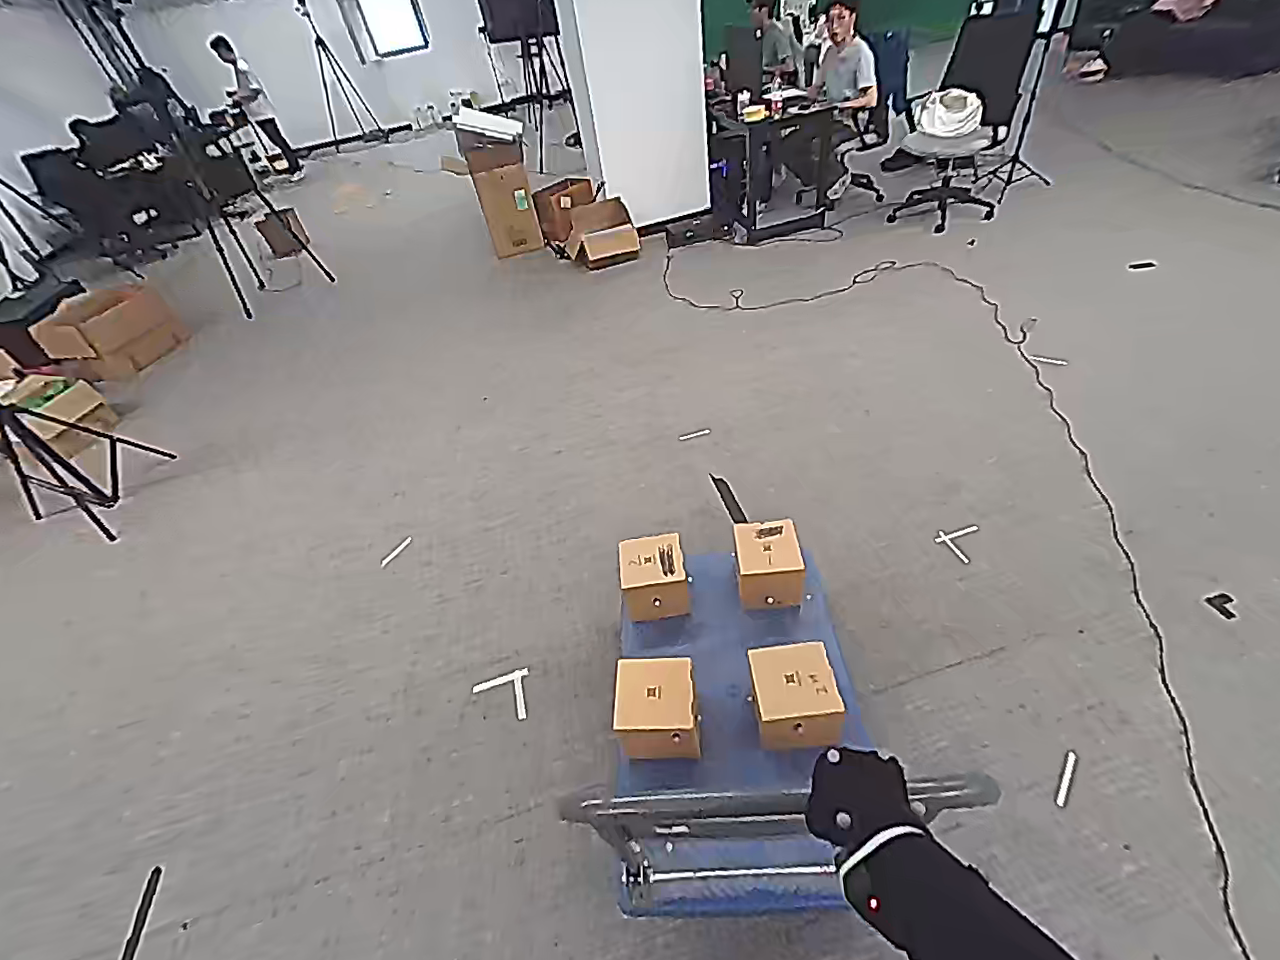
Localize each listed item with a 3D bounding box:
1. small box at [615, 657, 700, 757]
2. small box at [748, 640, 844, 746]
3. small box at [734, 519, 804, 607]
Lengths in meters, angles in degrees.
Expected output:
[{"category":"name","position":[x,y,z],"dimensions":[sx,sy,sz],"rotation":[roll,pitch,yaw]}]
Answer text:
[{"category":"small box","position":[0.045,0.533,1.264],"dimensions":[0.179,0.176,0.168],"rotation":[-4,43,6]},{"category":"small box","position":[0.351,0.492,1.238],"dimensions":[0.179,0.176,0.168],"rotation":[-8,43,4]},{"category":"small box","position":[0.354,0.233,1.512],"dimensions":[0.168,0.176,0.179],"rotation":[-6,44,6]}]
